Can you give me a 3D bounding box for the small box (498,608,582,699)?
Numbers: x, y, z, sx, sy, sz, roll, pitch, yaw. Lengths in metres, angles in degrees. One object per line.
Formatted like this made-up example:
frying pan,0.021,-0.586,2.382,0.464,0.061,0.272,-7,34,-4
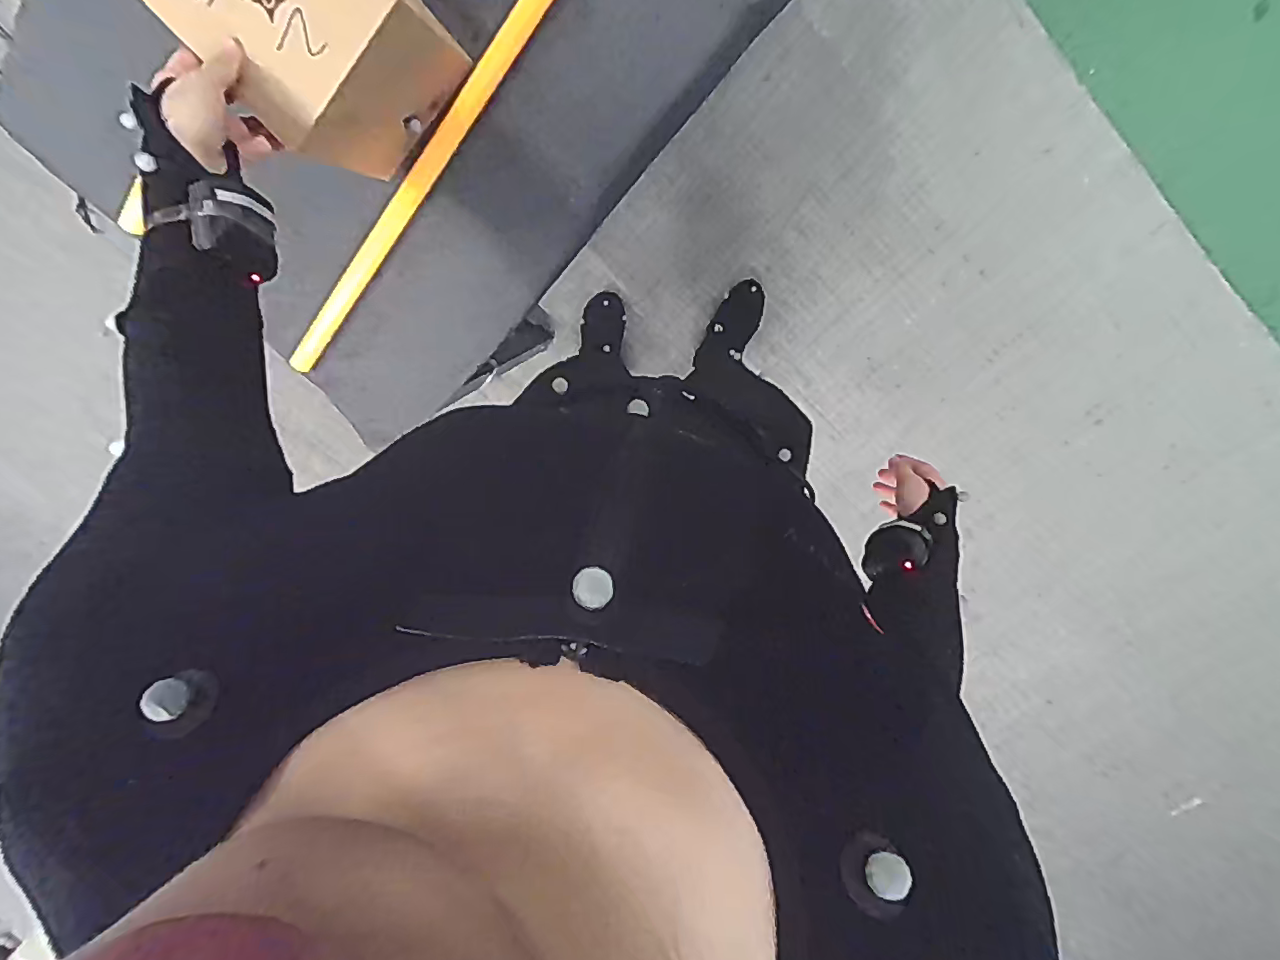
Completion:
small box,-0.302,0.536,1.687,0.168,0.176,0.179,-39,103,18
